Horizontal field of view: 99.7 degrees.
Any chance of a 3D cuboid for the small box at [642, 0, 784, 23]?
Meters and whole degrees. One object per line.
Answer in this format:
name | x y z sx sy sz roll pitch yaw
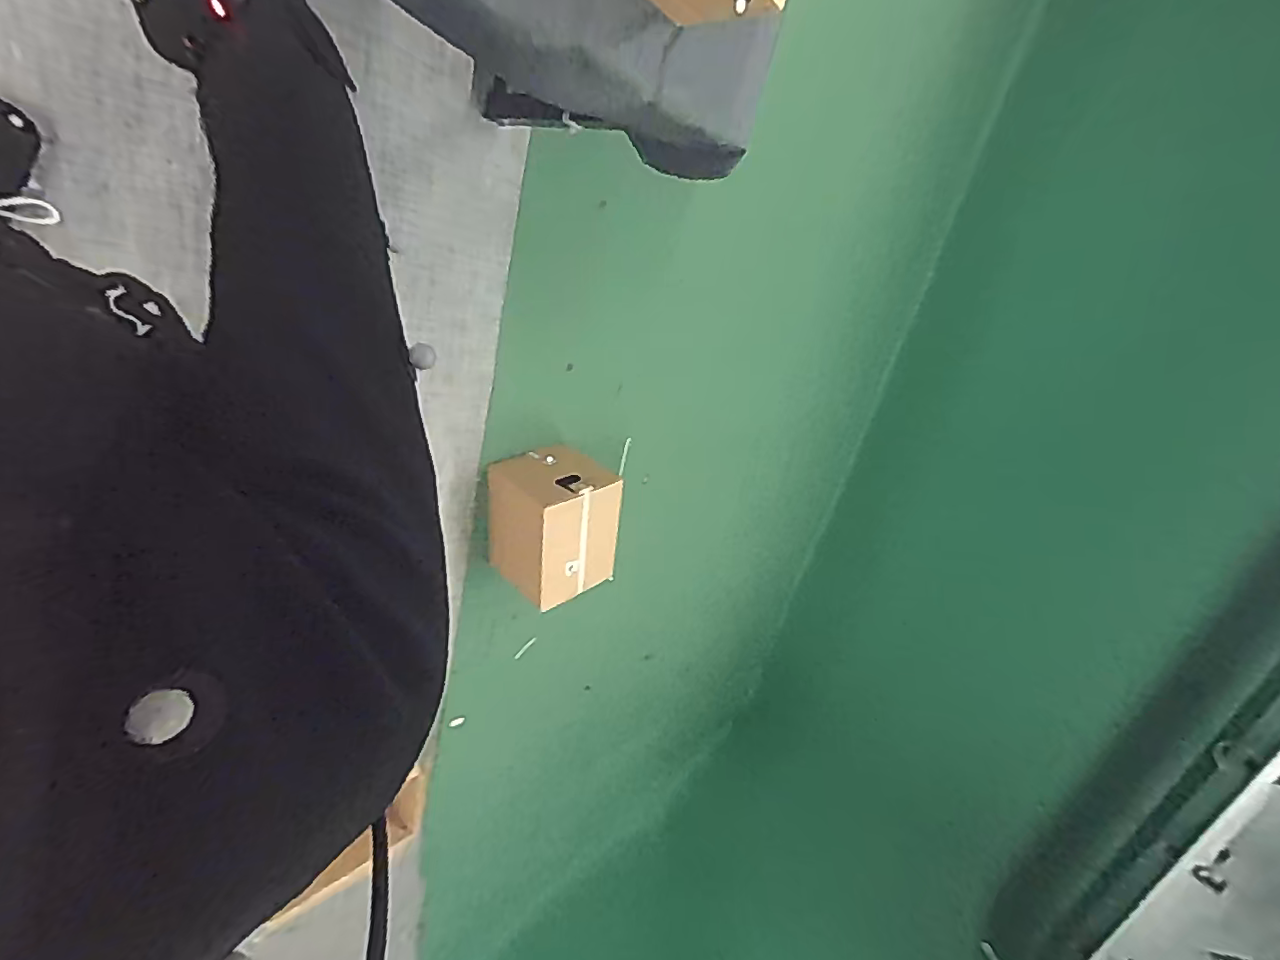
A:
small box | 0.065 -0.628 0.576 0.179 0.176 0.168 -6 119 -48
